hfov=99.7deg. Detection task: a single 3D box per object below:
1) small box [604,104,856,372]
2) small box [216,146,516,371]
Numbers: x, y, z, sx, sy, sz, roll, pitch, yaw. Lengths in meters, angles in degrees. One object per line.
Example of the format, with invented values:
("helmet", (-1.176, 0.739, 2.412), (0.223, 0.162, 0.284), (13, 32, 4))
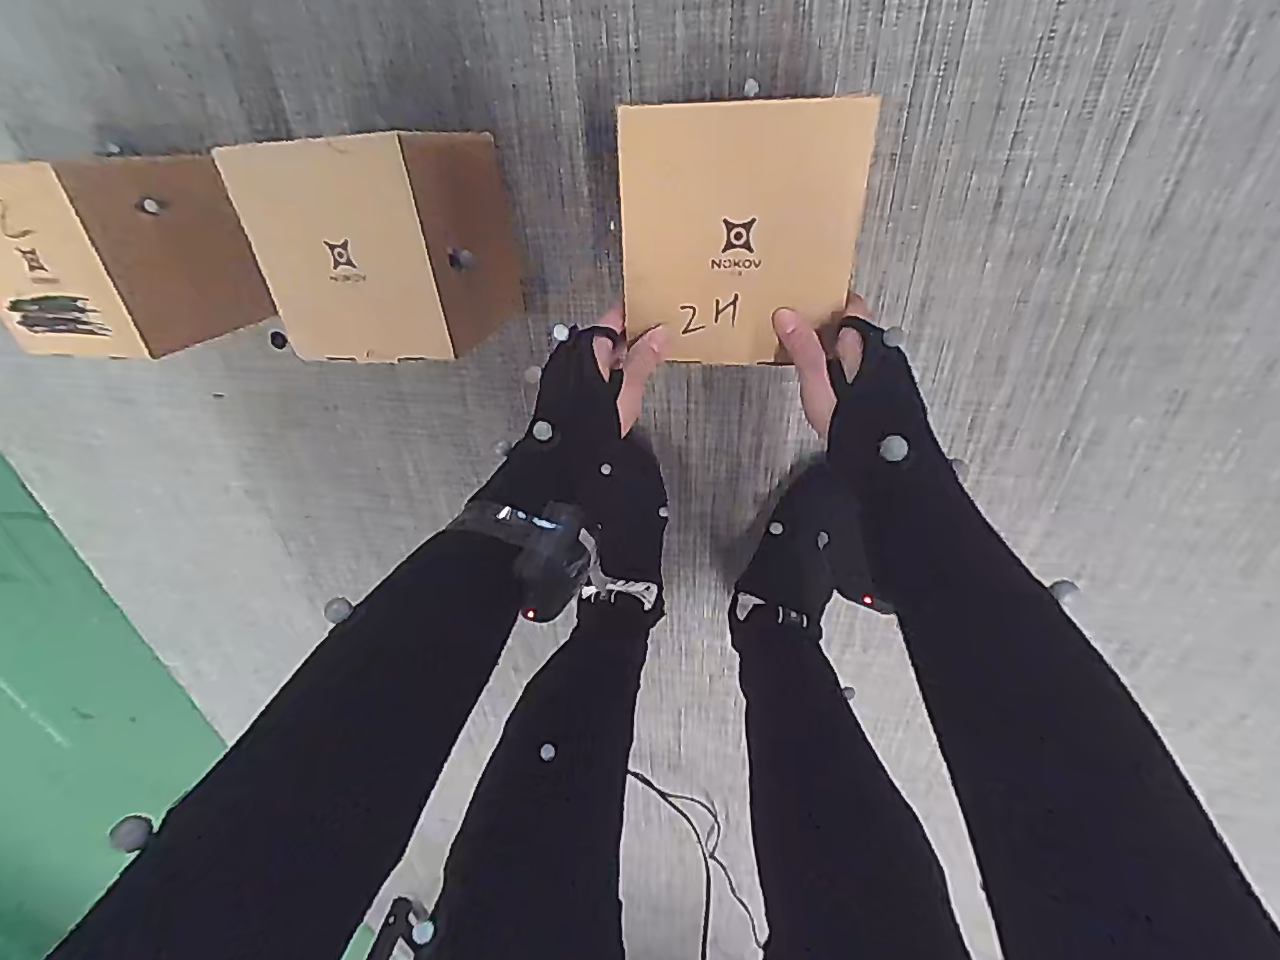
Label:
("small box", (0.069, -0.205, 0.458), (0.168, 0.176, 0.179), (3, 123, 9))
("small box", (-0.240, -0.219, 0.528), (0.168, 0.176, 0.179), (2, 124, 12))
